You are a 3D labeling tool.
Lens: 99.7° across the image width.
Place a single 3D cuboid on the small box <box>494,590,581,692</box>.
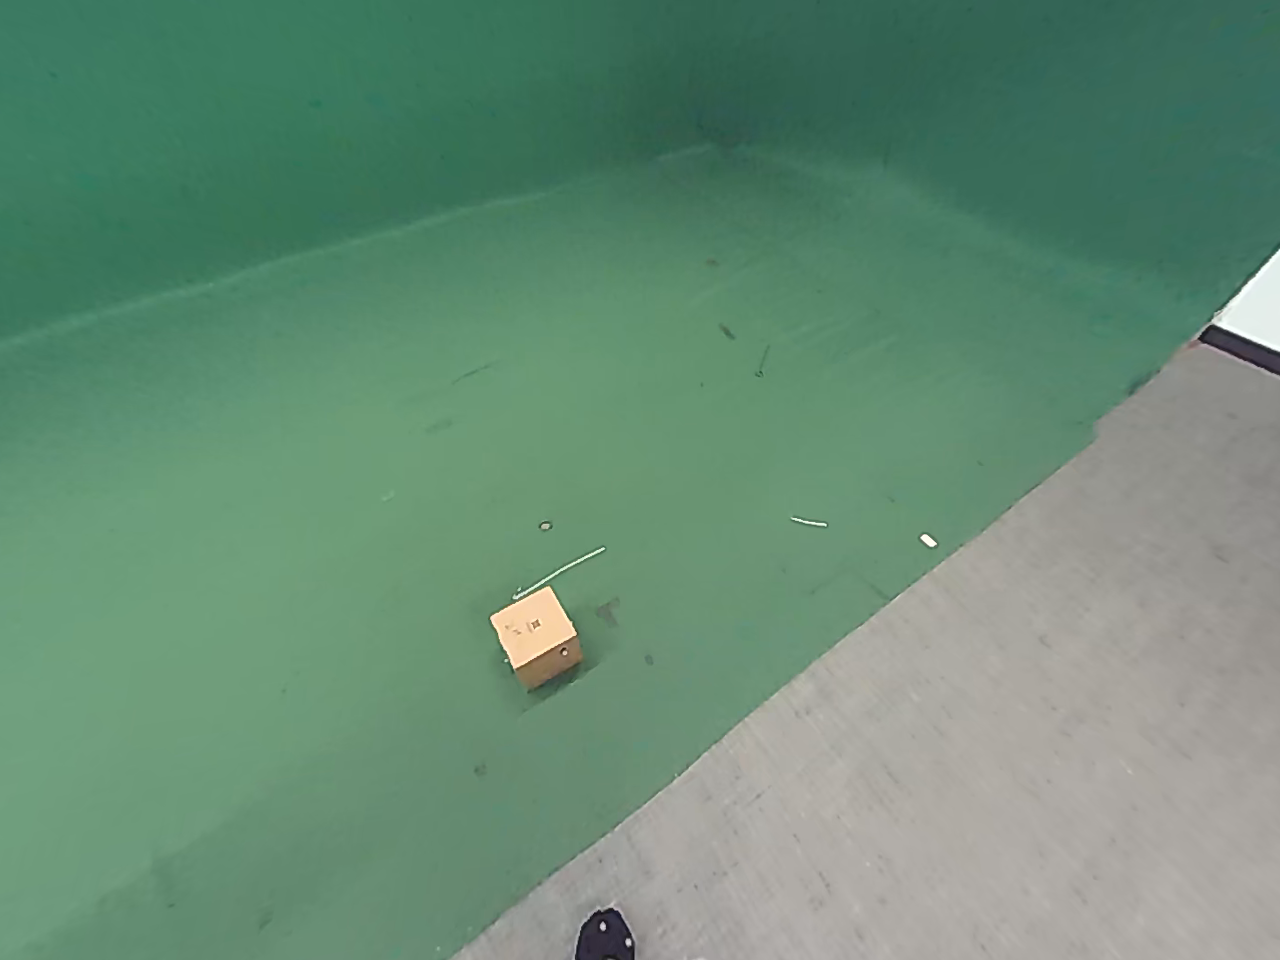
[{"bbox_3d":[-0.267,0.433,1.448,0.179,0.176,0.168,-26,54,-18],"label":"small box"}]
